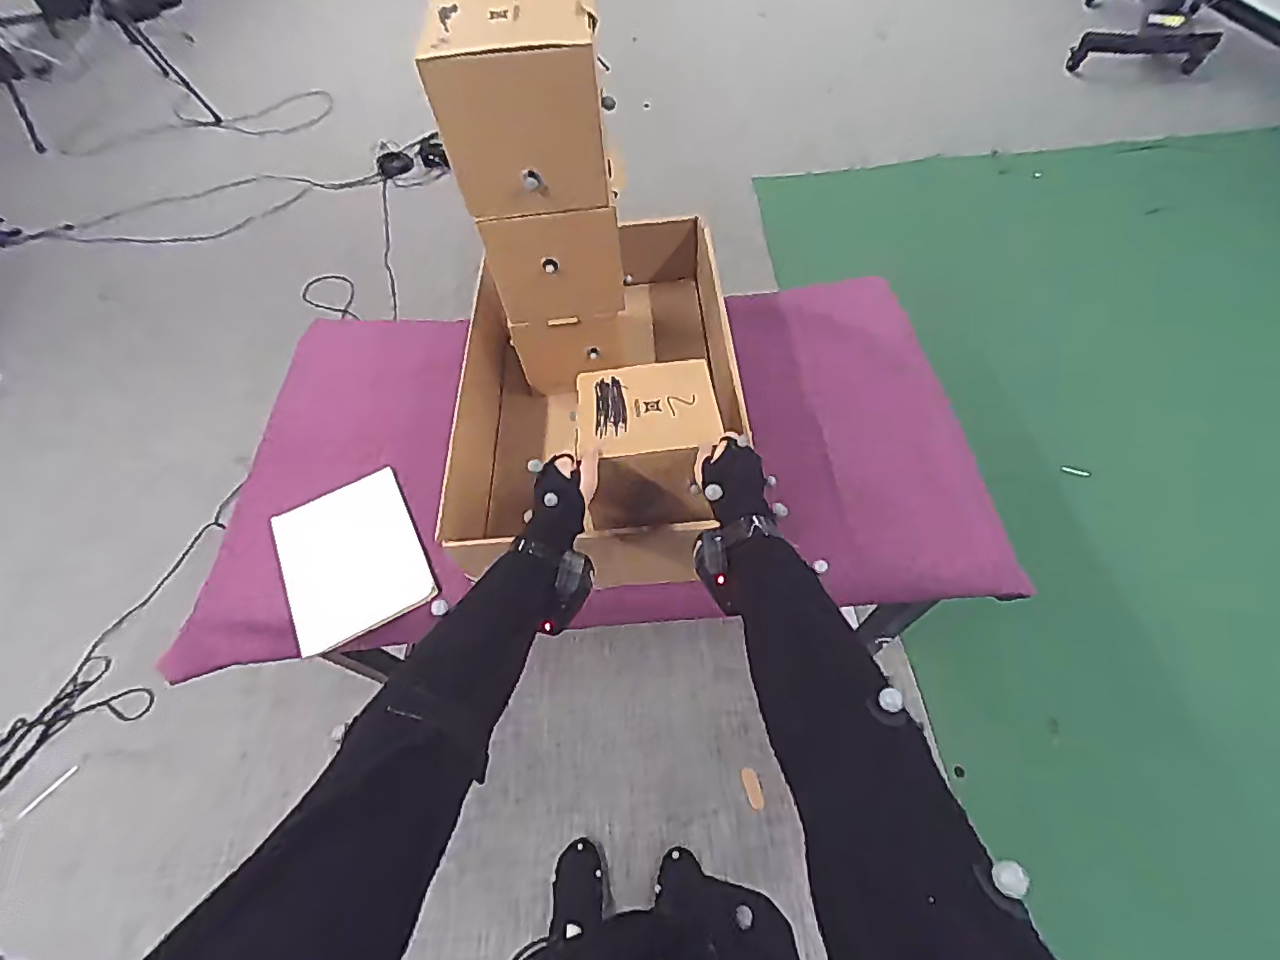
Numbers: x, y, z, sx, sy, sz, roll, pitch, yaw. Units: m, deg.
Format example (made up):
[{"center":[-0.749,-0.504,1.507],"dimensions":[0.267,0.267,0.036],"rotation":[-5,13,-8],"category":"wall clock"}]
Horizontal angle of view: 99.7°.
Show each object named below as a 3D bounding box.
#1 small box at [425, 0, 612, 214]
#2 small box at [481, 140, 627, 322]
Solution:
[{"center":[-0.123,-0.436,0.630],"dimensions":[0.179,0.176,0.168],"rotation":[-4,58,0],"category":"small box"},{"center":[-0.111,-0.349,0.768],"dimensions":[0.179,0.176,0.168],"rotation":[-7,59,0],"category":"small box"}]
